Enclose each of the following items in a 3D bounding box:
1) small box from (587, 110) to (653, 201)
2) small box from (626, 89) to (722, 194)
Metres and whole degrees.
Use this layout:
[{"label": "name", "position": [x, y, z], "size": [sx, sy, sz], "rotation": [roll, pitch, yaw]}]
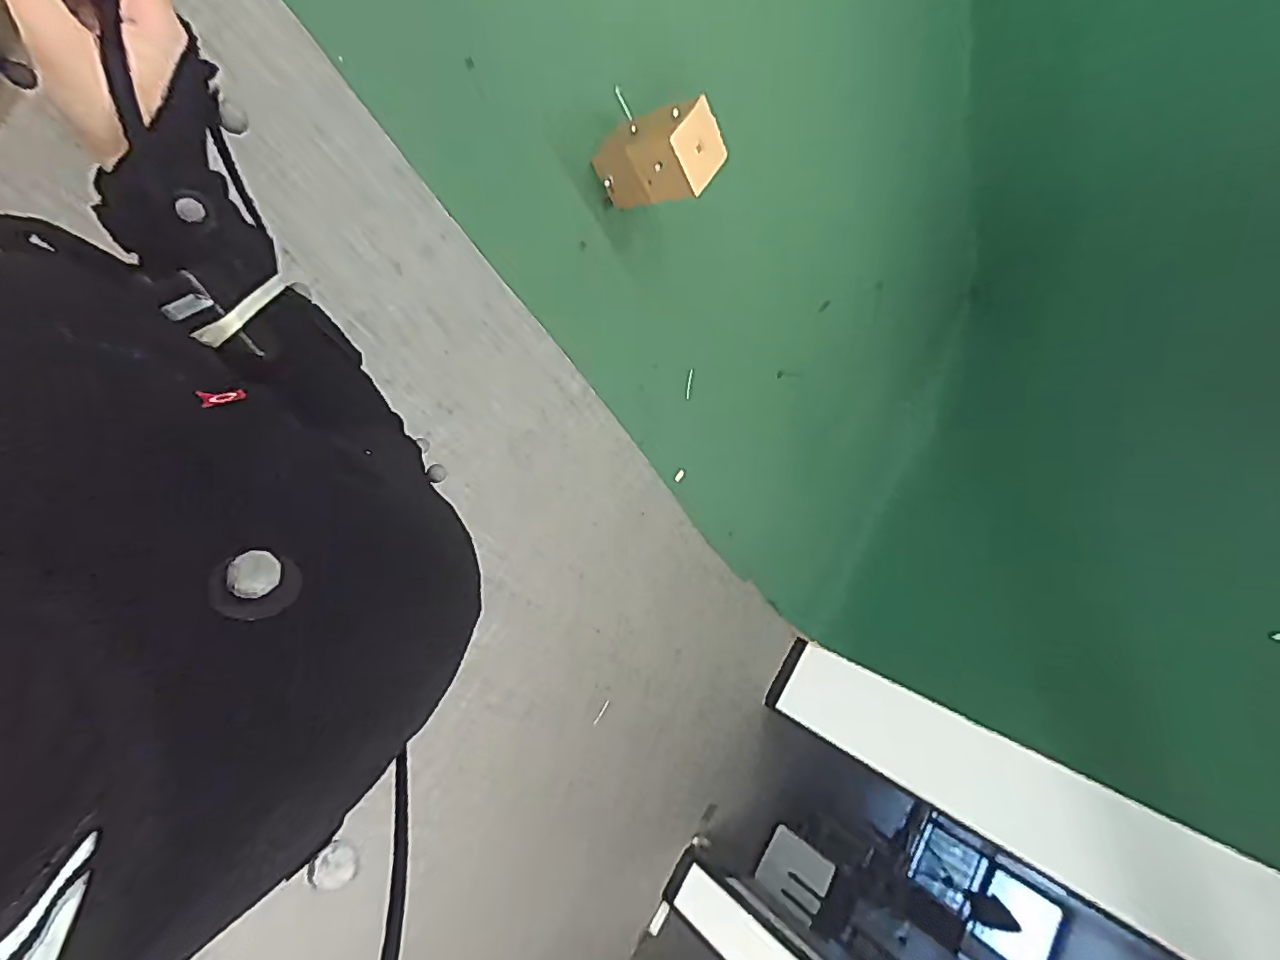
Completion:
[{"label": "small box", "position": [-0.021, -0.942, 1.572], "size": [0.179, 0.176, 0.168], "rotation": [-55, 136, -14]}, {"label": "small box", "position": [0.086, -0.901, 1.456], "size": [0.179, 0.176, 0.168], "rotation": [-57, 136, -14]}]
